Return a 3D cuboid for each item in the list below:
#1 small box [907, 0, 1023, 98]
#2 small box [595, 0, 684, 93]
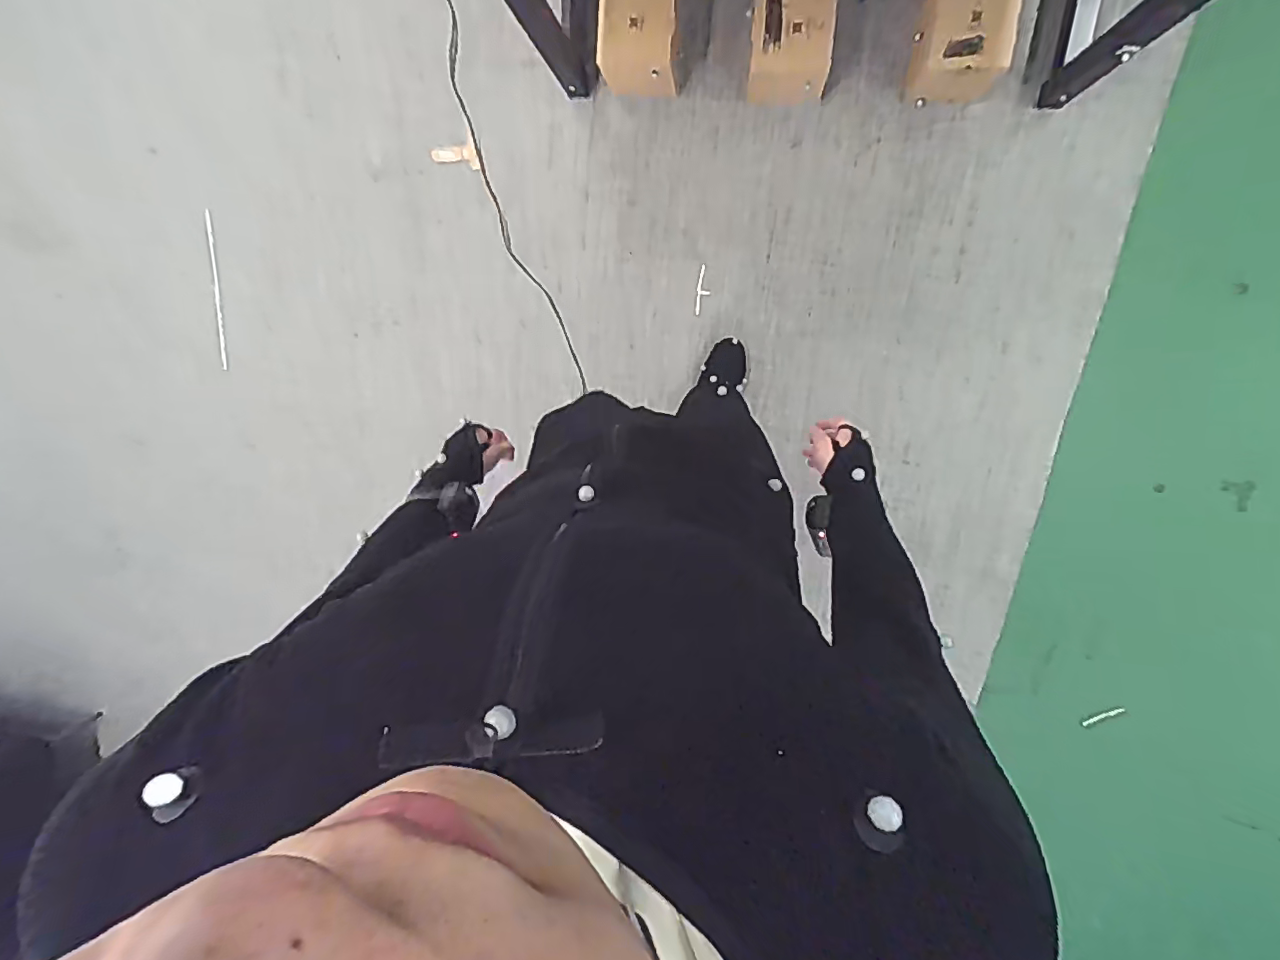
[{"bbox_3d":[0.698,-0.960,1.175,0.168,0.176,0.179,5,104,8],"label":"small box"},{"bbox_3d":[0.002,-1.045,1.277,0.179,0.176,0.168,7,105,8],"label":"small box"}]
